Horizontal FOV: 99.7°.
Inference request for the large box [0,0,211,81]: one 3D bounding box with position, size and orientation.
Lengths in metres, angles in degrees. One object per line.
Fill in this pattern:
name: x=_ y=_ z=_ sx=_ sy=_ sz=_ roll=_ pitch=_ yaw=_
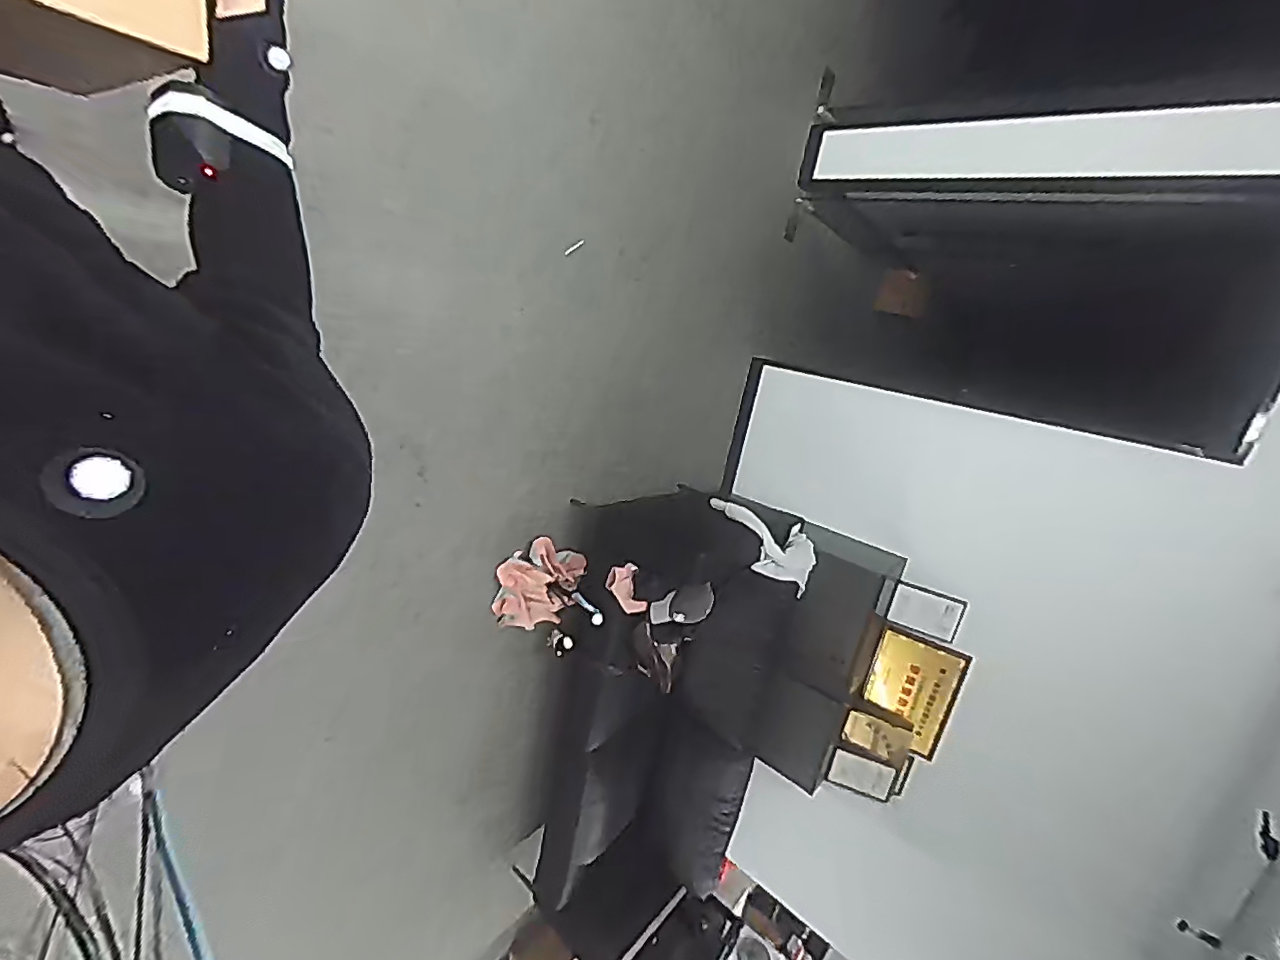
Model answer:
large box: x=-0.544 y=-0.473 z=0.289 sx=0.408 sy=0.320 sz=0.320 roll=-18 pitch=121 yaw=-53
